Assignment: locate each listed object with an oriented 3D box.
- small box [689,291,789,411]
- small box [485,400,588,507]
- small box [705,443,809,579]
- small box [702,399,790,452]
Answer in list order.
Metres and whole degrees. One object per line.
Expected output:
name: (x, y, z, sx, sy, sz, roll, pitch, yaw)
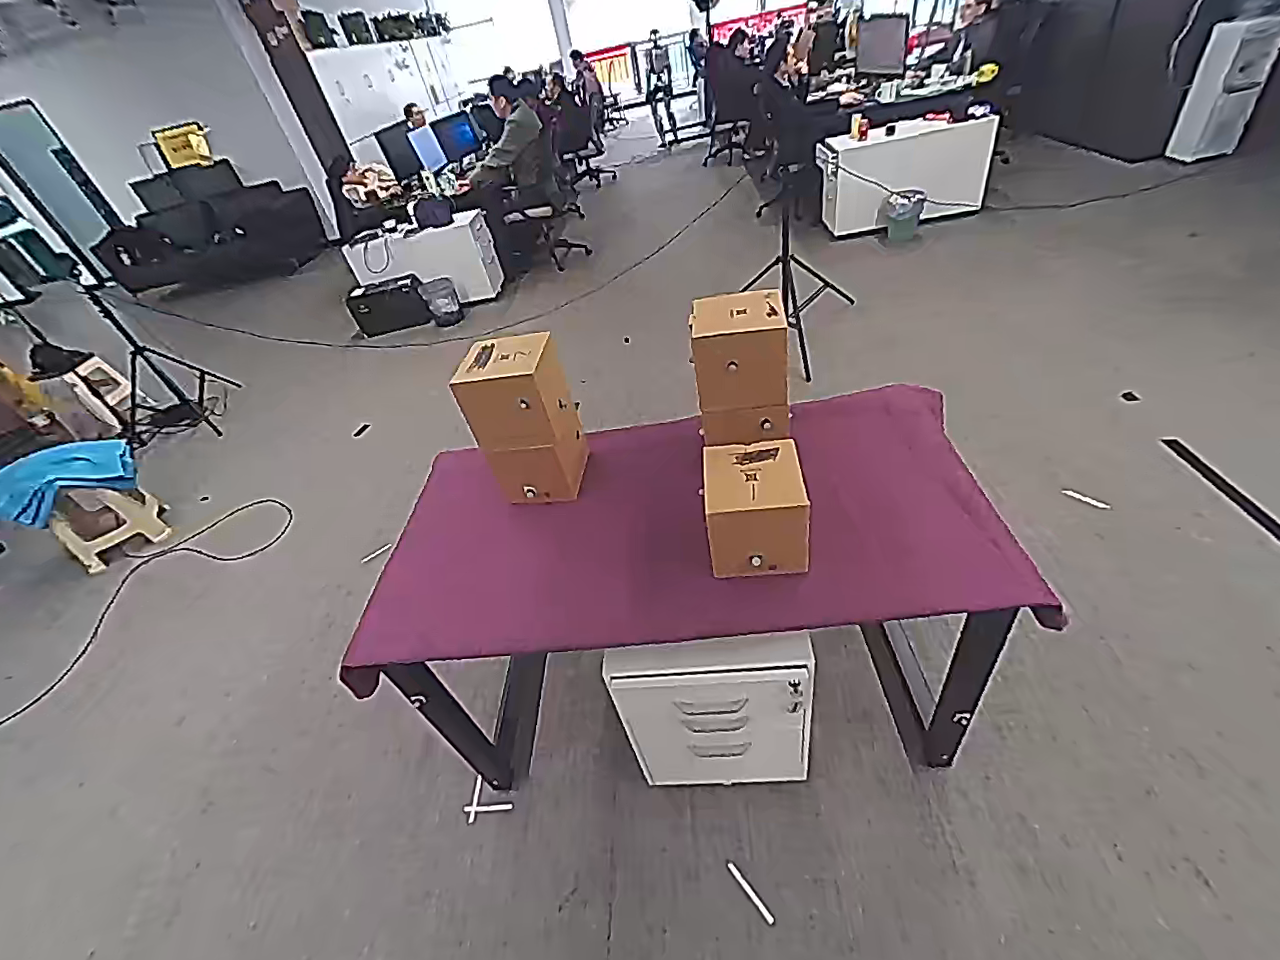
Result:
small box: (0.200, -0.253, 1.083, 0.179, 0.176, 0.168, -5, 42, 12)
small box: (-0.226, -0.059, 1.237, 0.168, 0.176, 0.179, -4, 43, 13)
small box: (0.207, 0.057, 0.975, 0.168, 0.176, 0.179, -6, 40, 10)
small box: (0.231, -0.130, 1.188, 0.179, 0.176, 0.168, -5, 41, 11)
